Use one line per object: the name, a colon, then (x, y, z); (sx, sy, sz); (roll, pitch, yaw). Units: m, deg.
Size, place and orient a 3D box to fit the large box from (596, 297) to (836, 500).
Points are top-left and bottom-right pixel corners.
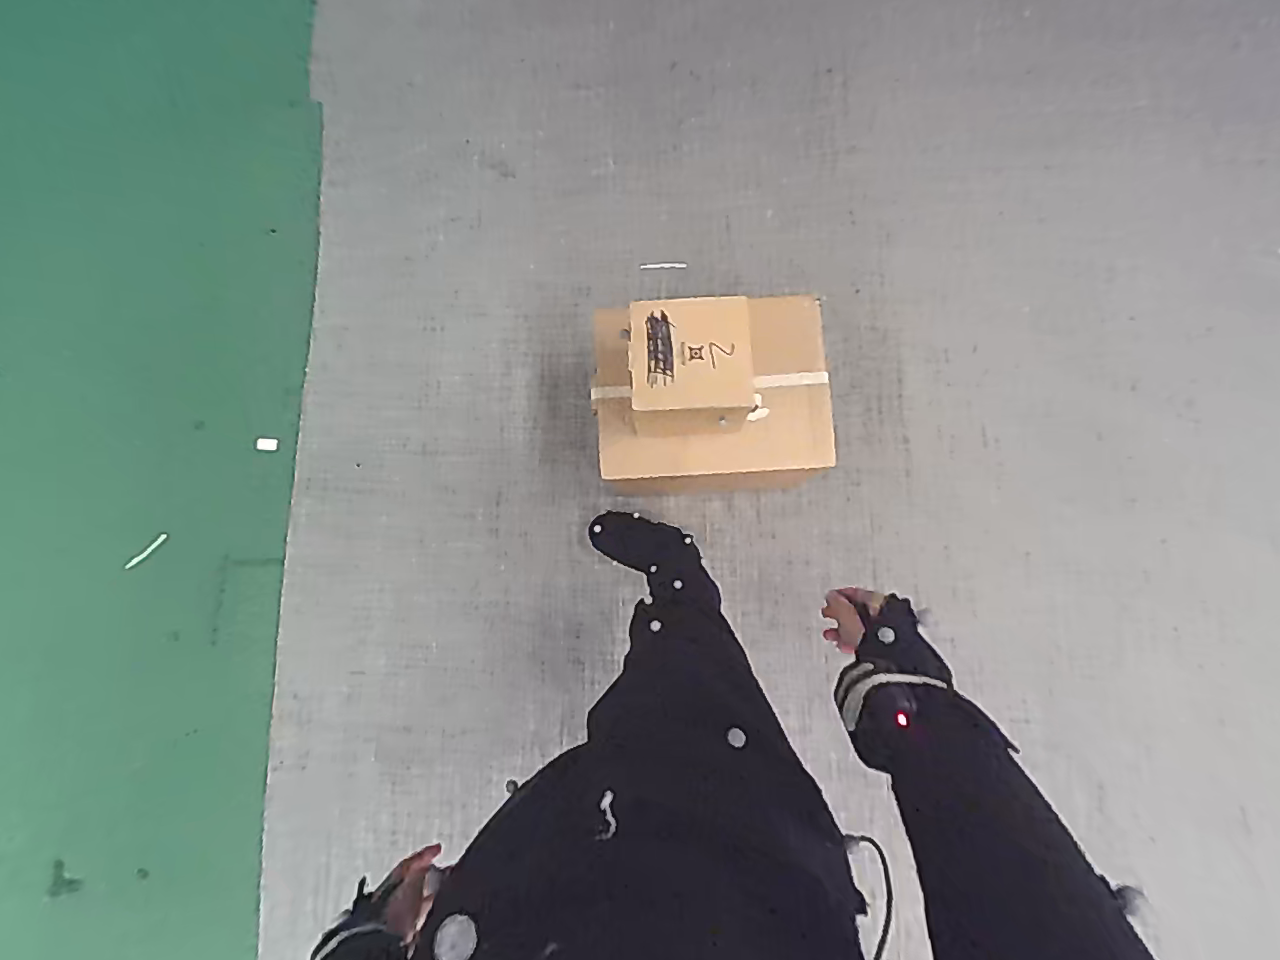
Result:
large box: (0.133, -0.141, 1.095); (0.408, 0.320, 0.320); (-4, 83, 2)
